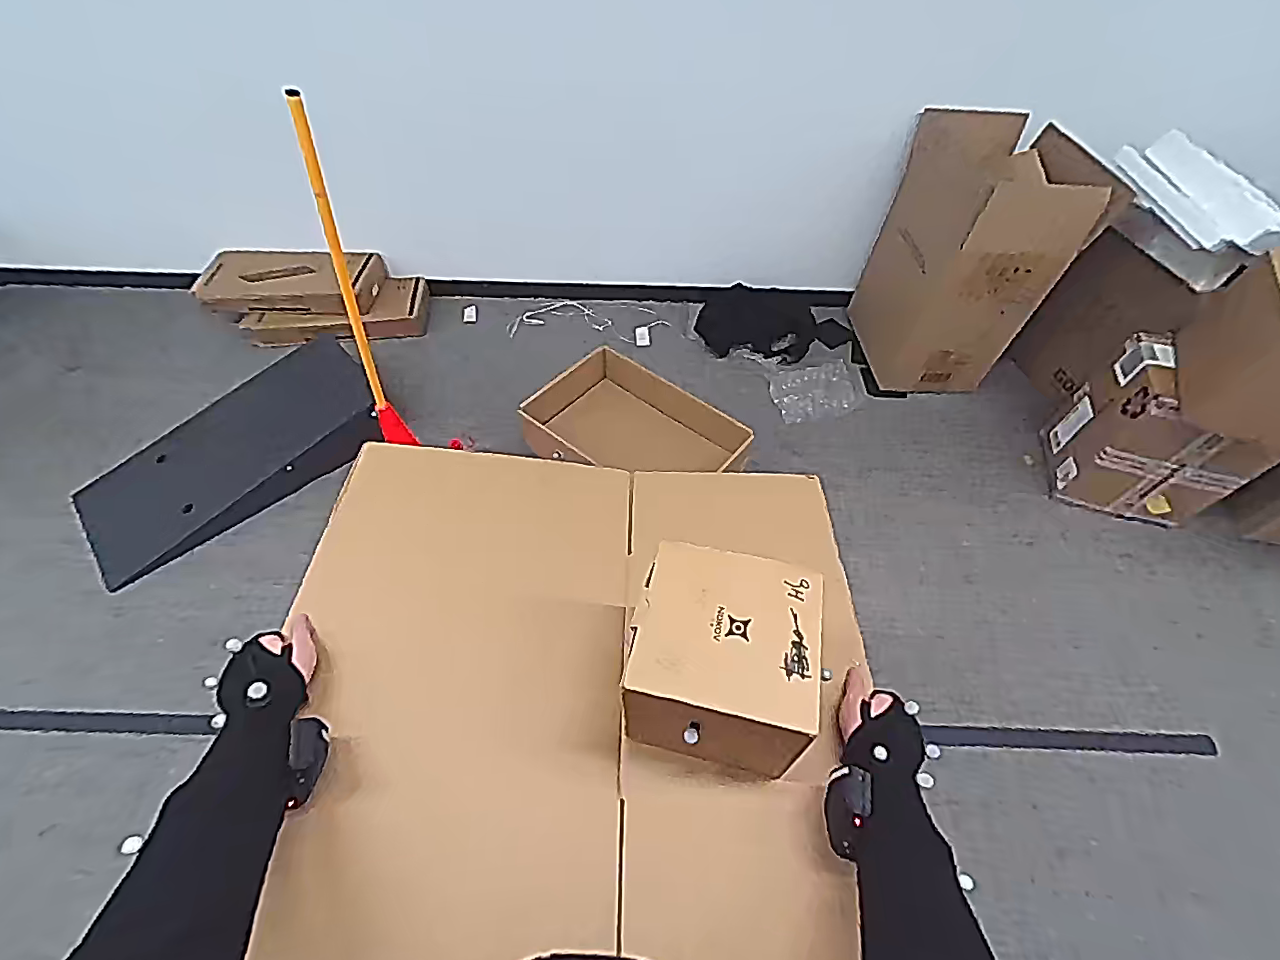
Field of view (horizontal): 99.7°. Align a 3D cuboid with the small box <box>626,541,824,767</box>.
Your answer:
[{"bbox_3d":[0.091,0.192,0.591,0.179,0.176,0.168,10,51,10],"label":"small box"}]
